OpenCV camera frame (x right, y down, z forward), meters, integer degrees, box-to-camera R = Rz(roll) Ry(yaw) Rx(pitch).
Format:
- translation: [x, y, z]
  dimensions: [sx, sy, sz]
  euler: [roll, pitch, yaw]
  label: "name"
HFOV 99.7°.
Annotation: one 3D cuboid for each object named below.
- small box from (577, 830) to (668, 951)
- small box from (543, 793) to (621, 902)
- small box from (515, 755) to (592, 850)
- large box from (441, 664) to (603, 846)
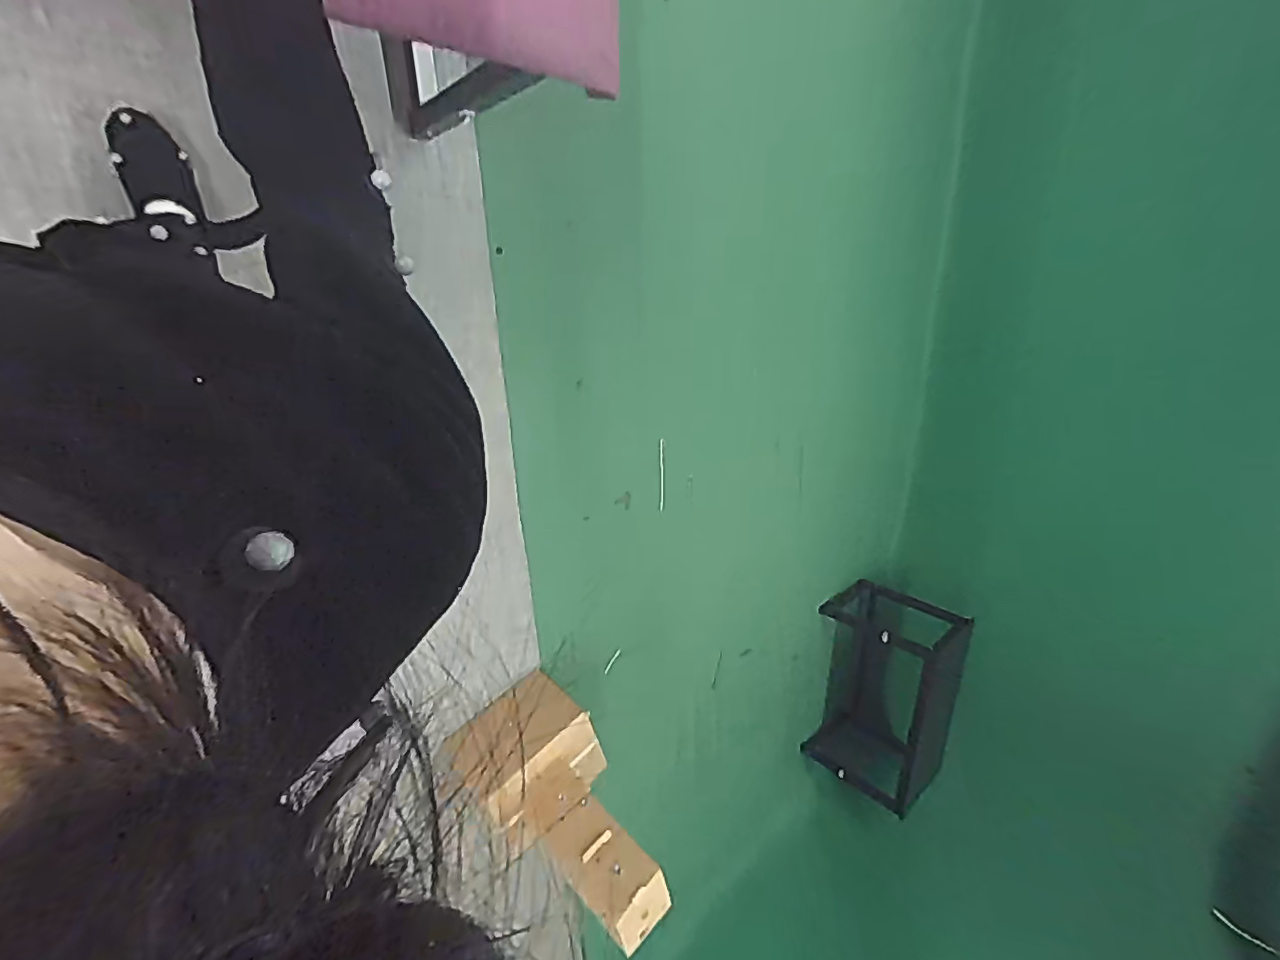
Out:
- translation: [-0.050, 1.104, 1.473]
  dimensions: [0.168, 0.176, 0.179]
  euler: [-29, 120, -33]
  label: "small box"
- translation: [-0.162, 1.063, 1.586]
  dimensions: [0.168, 0.176, 0.179]
  euler: [-28, 121, -33]
  label: "small box"
- translation: [-0.264, 1.016, 1.706]
  dimensions: [0.179, 0.176, 0.168]
  euler: [-30, 122, -32]
  label: "small box"
- translation: [-0.407, 0.941, 1.892]
  dimensions: [0.408, 0.320, 0.320]
  euler: [-34, 126, -32]
  label: "large box"
